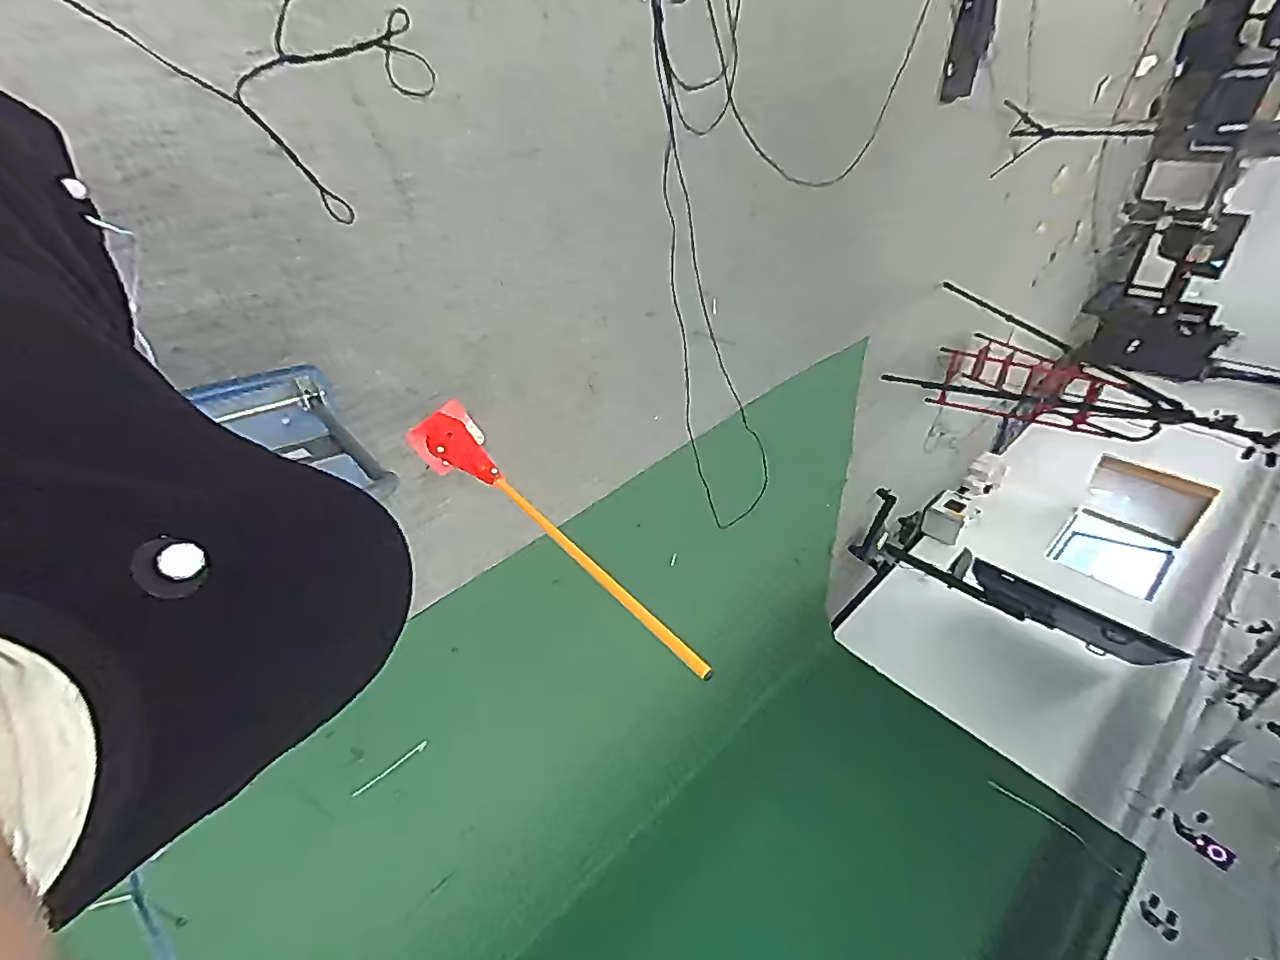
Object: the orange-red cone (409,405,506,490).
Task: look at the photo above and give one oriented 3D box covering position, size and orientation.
[{"bbox_3d":[-0.518,-0.059,1.662,0.199,0.360,0.198,-44,139,-18],"label":"orange-red cone"}]
